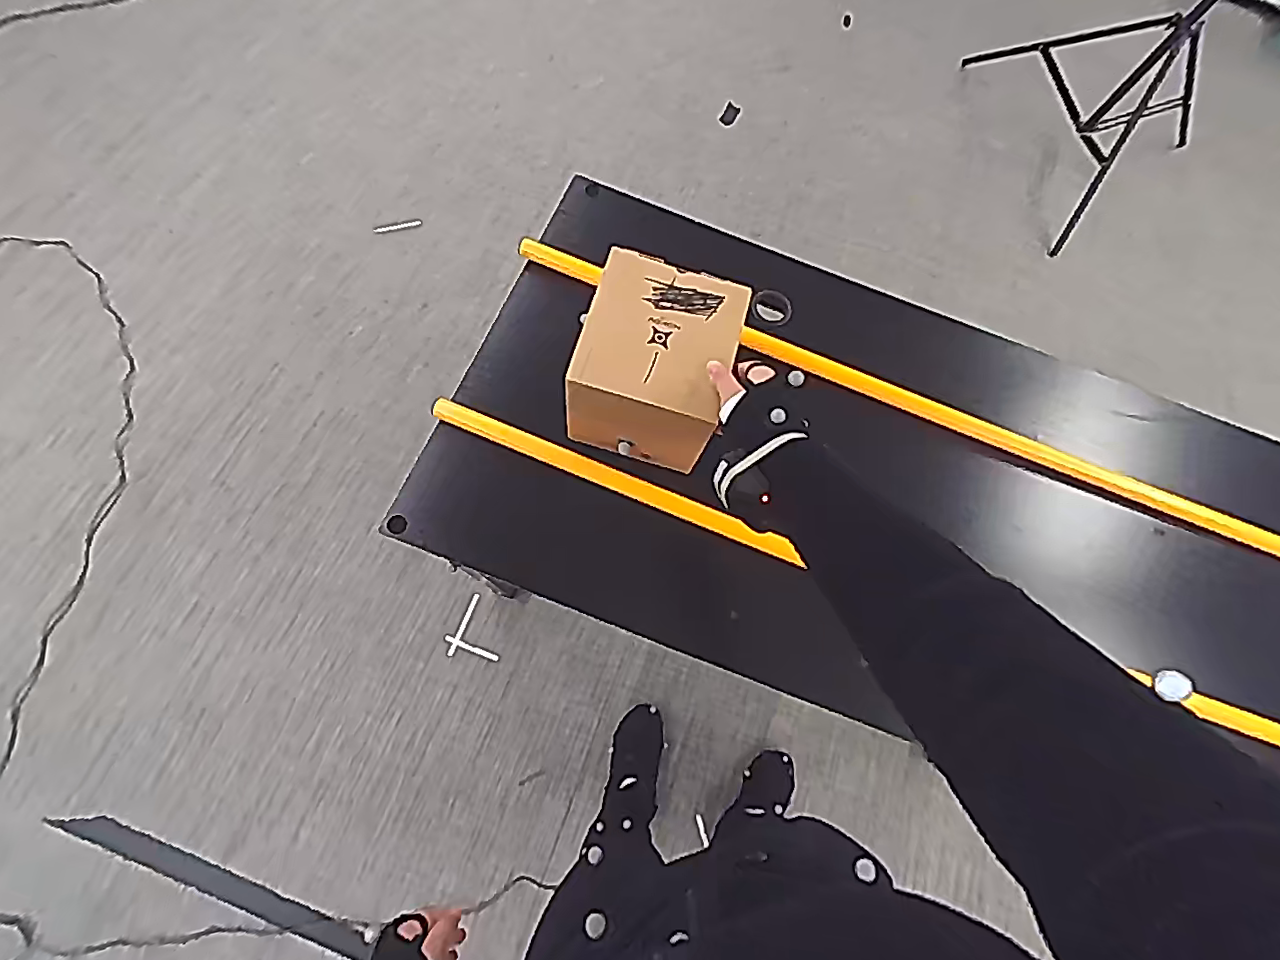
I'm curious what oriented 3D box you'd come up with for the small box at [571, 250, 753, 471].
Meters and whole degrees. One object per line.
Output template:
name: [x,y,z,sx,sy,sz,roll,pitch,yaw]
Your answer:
small box: [0.019,-0.134,0.656,0.168,0.176,0.179,17,72,0]
